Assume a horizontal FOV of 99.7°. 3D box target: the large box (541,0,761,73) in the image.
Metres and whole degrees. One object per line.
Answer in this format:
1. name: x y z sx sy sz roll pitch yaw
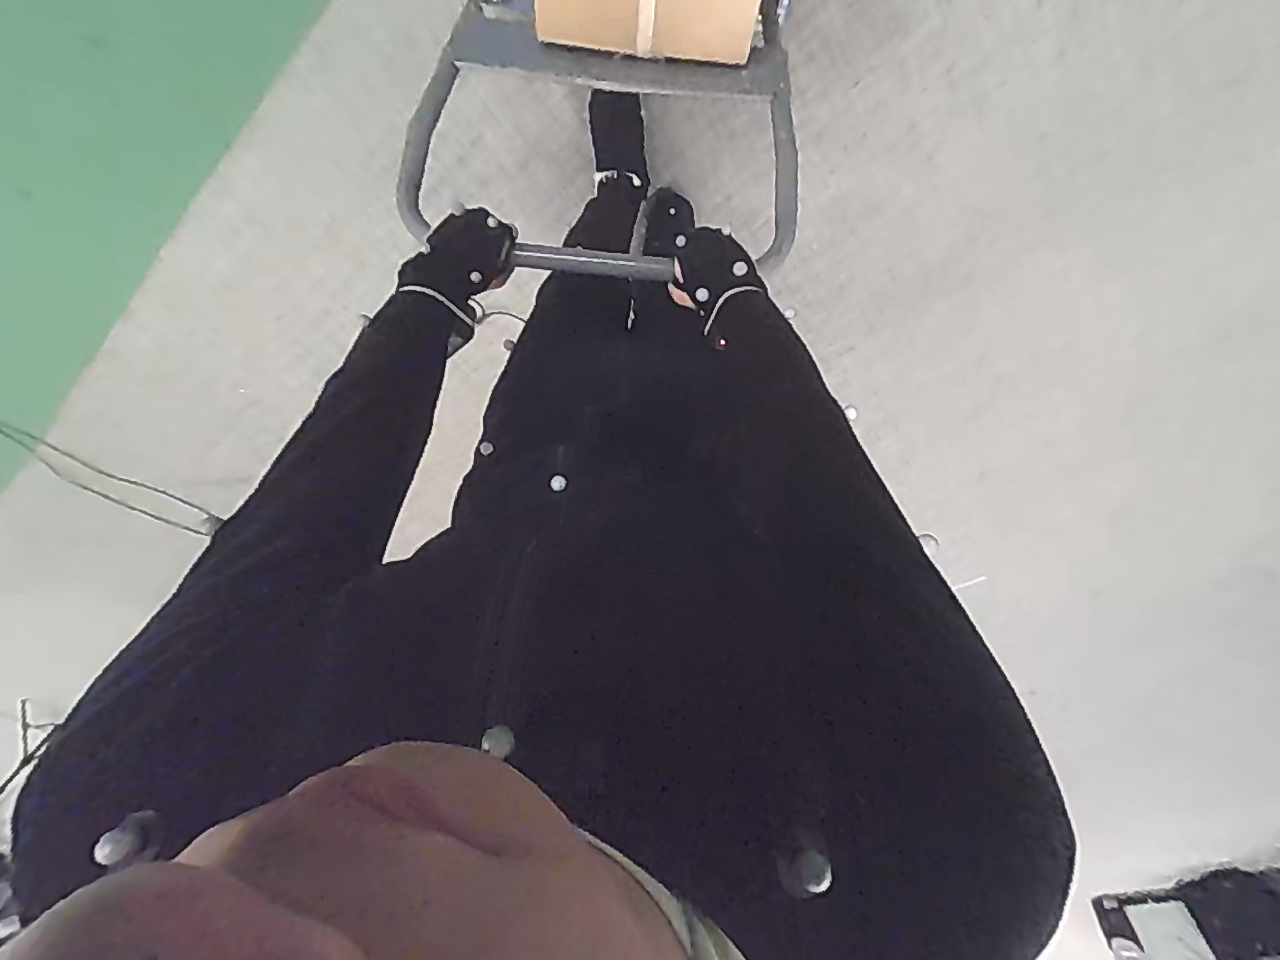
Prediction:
1. large box: 0.033 -0.863 0.735 0.320 0.320 0.408 5 147 -2
